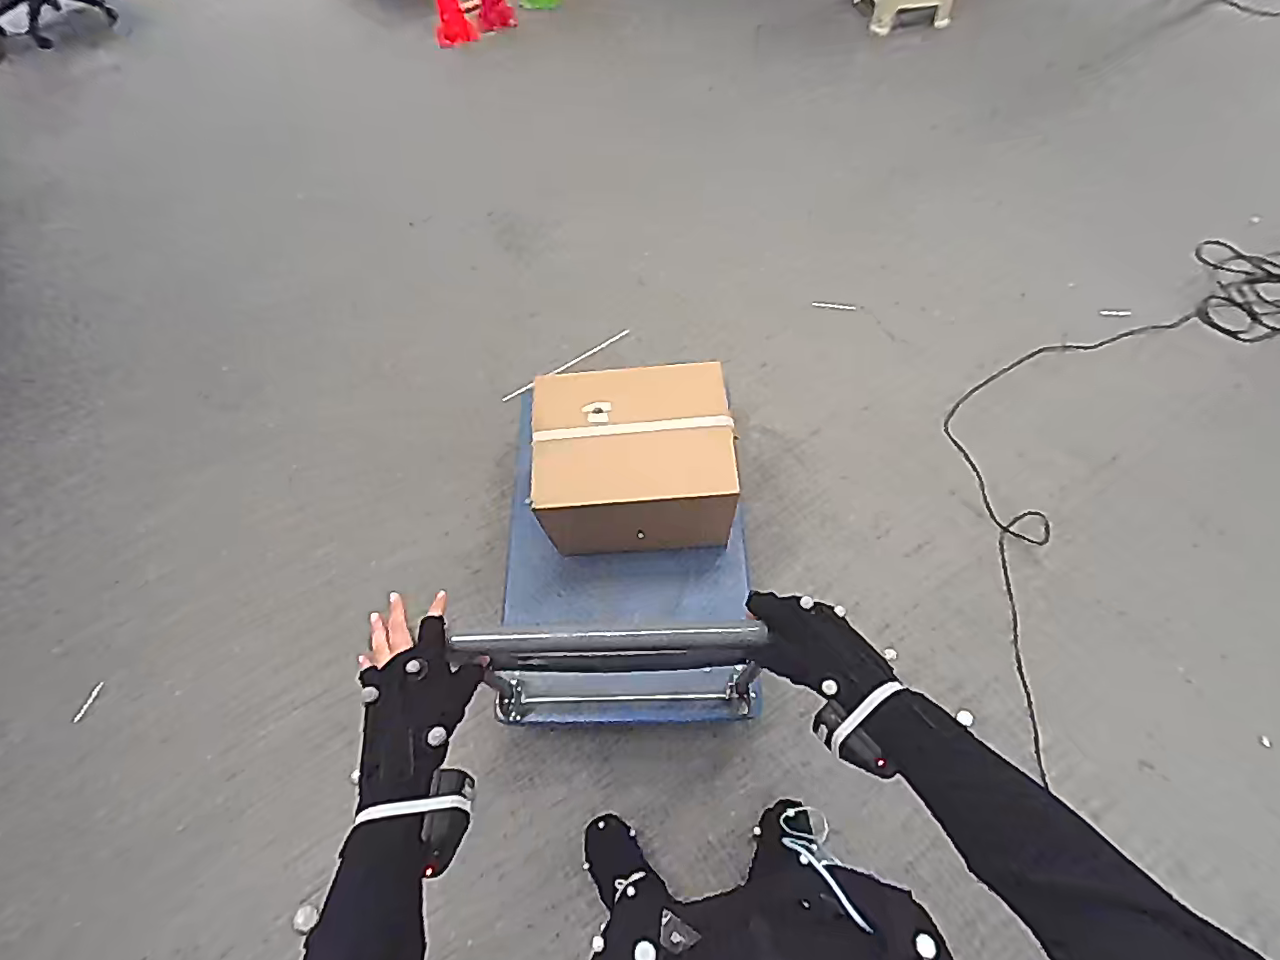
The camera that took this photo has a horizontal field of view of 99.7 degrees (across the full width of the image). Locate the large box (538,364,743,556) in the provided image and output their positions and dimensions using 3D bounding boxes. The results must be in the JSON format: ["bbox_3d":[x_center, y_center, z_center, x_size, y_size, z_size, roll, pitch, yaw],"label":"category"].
[{"bbox_3d":[0.001,-0.030,1.239,0.408,0.320,0.320,-6,64,2],"label":"large box"}]
